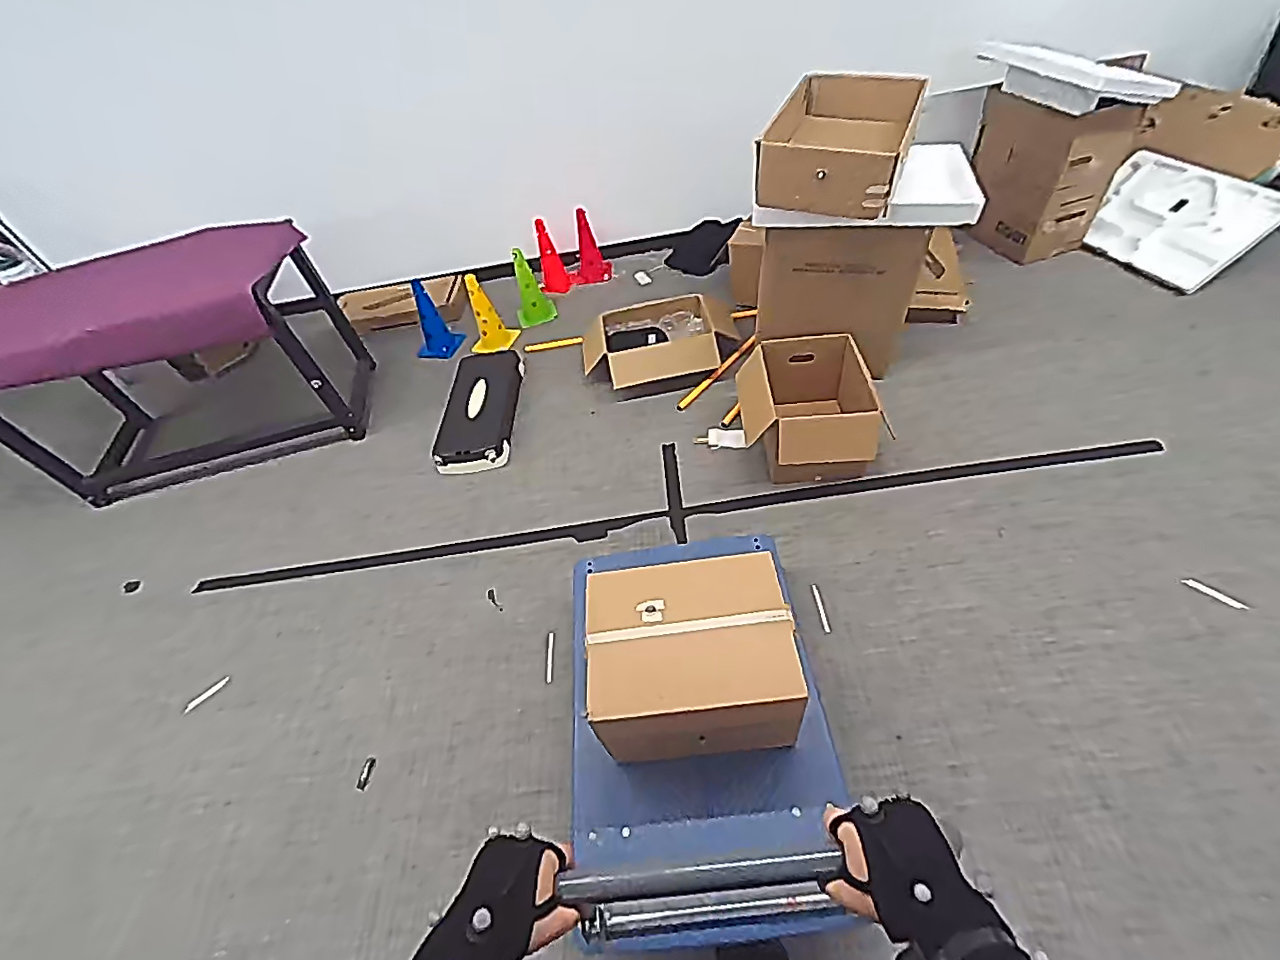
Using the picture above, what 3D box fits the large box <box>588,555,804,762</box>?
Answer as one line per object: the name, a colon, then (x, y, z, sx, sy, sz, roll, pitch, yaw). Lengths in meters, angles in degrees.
large box: (0.117, 0.405, 1.204, 0.408, 0.320, 0.320, -9, 48, 4)
